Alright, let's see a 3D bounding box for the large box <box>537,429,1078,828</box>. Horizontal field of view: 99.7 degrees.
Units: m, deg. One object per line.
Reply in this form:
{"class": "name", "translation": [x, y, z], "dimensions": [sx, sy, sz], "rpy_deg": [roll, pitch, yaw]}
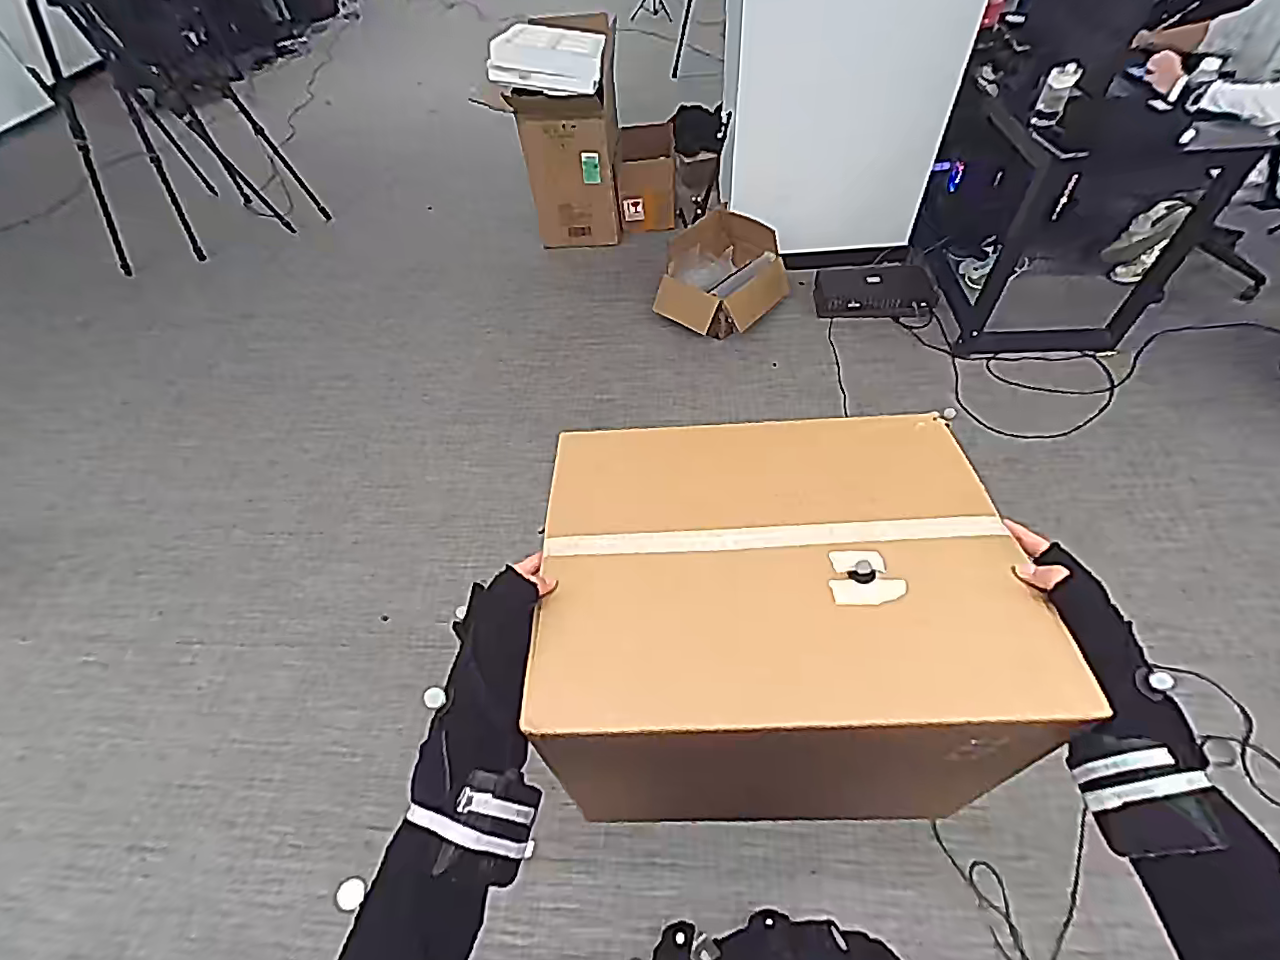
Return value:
{"class": "large box", "translation": [0.125, 0.169, 0.602], "dimensions": [0.408, 0.320, 0.320], "rpy_deg": [-3, 47, 3]}
